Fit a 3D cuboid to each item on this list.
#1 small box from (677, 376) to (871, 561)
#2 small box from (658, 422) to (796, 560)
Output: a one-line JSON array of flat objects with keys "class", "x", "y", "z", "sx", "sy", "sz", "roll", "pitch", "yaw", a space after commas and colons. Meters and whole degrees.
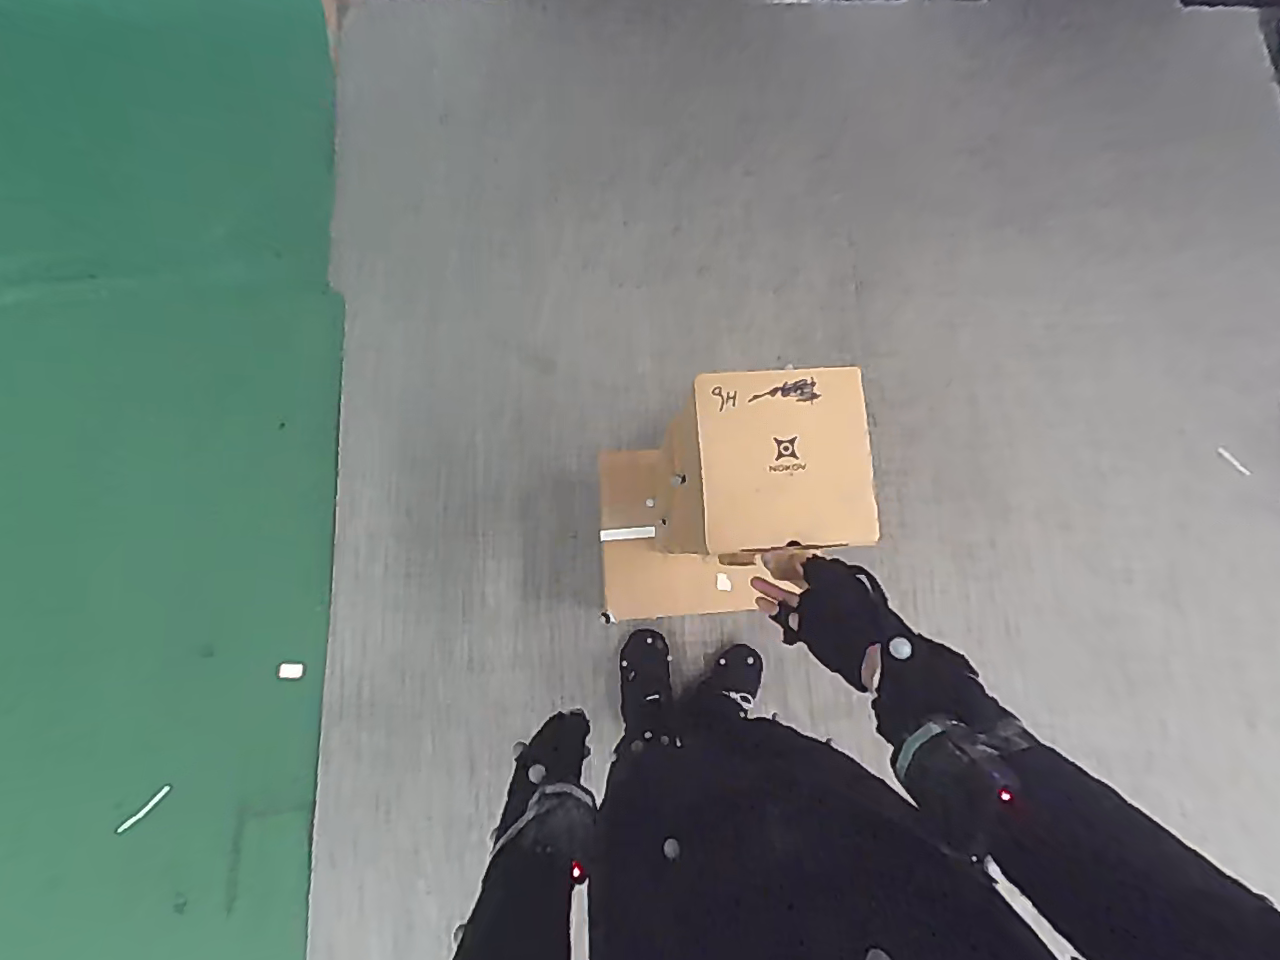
[{"class": "small box", "x": 0.134, "y": -0.005, "z": 0.602, "sx": 0.168, "sy": 0.176, "sz": 0.179, "roll": -3, "pitch": 83, "yaw": -3}, {"class": "small box", "x": 0.115, "y": 0.023, "z": 0.763, "sx": 0.168, "sy": 0.176, "sz": 0.179, "roll": 0, "pitch": 81, "yaw": -3}]
